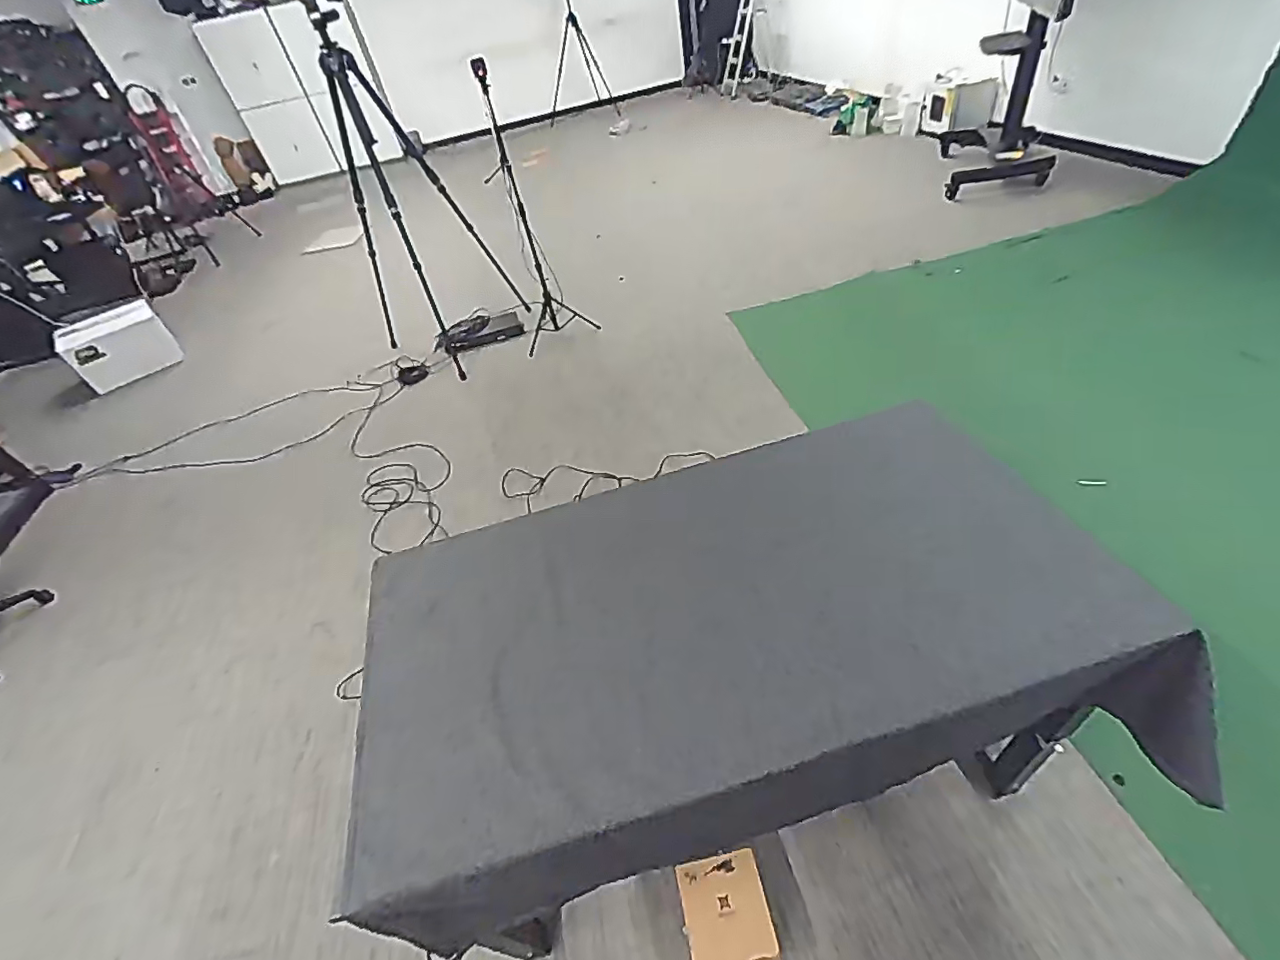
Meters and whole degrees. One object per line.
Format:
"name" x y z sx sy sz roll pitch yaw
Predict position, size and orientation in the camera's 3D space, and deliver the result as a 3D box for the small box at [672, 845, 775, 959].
"small box" 0.172 0.882 1.105 0.168 0.176 0.179 -14 43 0
